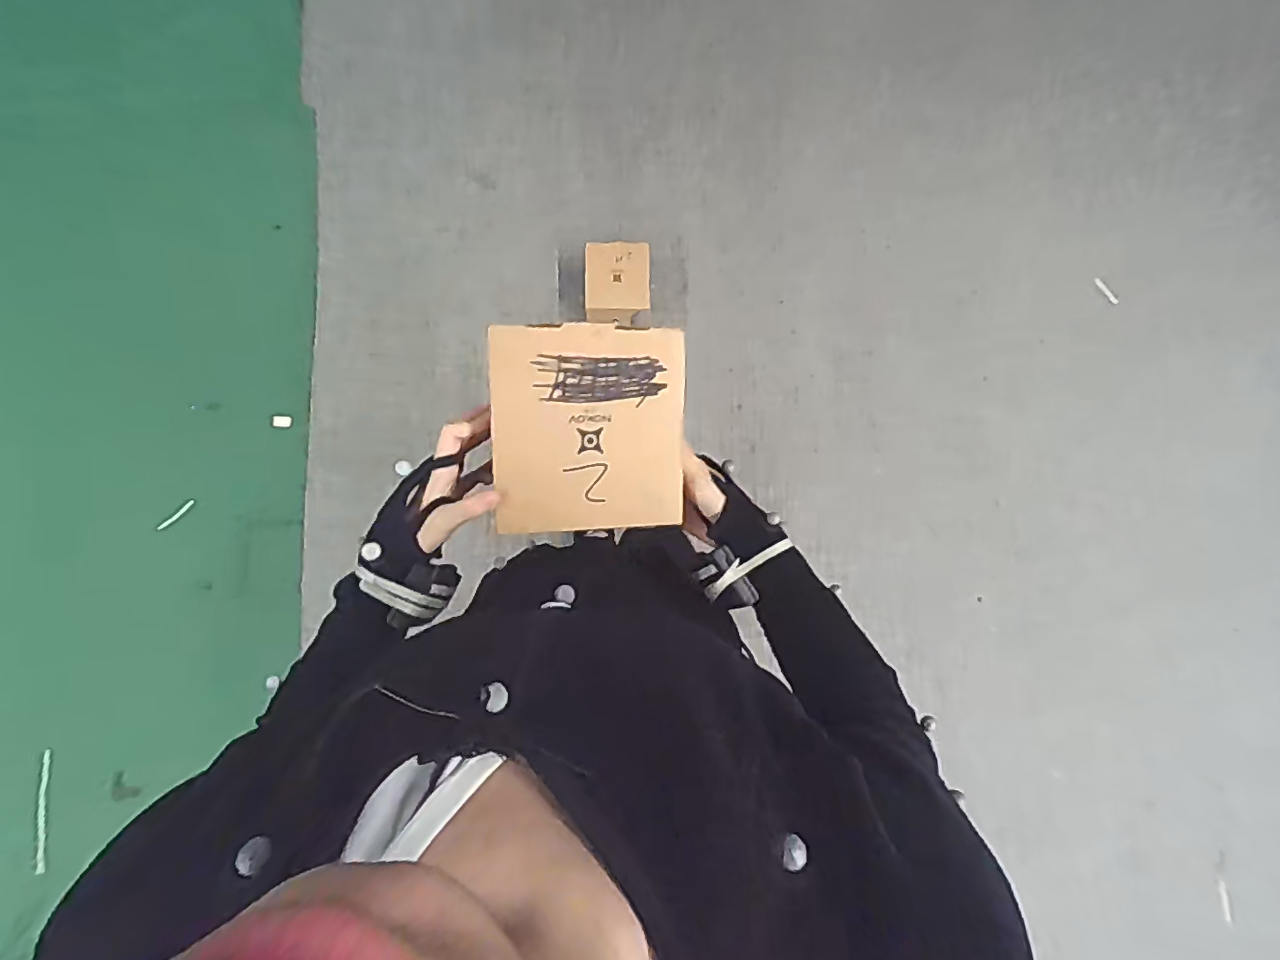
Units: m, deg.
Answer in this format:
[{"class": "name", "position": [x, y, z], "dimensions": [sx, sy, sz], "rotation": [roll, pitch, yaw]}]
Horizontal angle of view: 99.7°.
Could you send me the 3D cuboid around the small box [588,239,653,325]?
[{"class": "small box", "position": [-0.051, -0.525, 1.454], "dimensions": [0.168, 0.176, 0.179], "rotation": [0, 88, -2]}]
